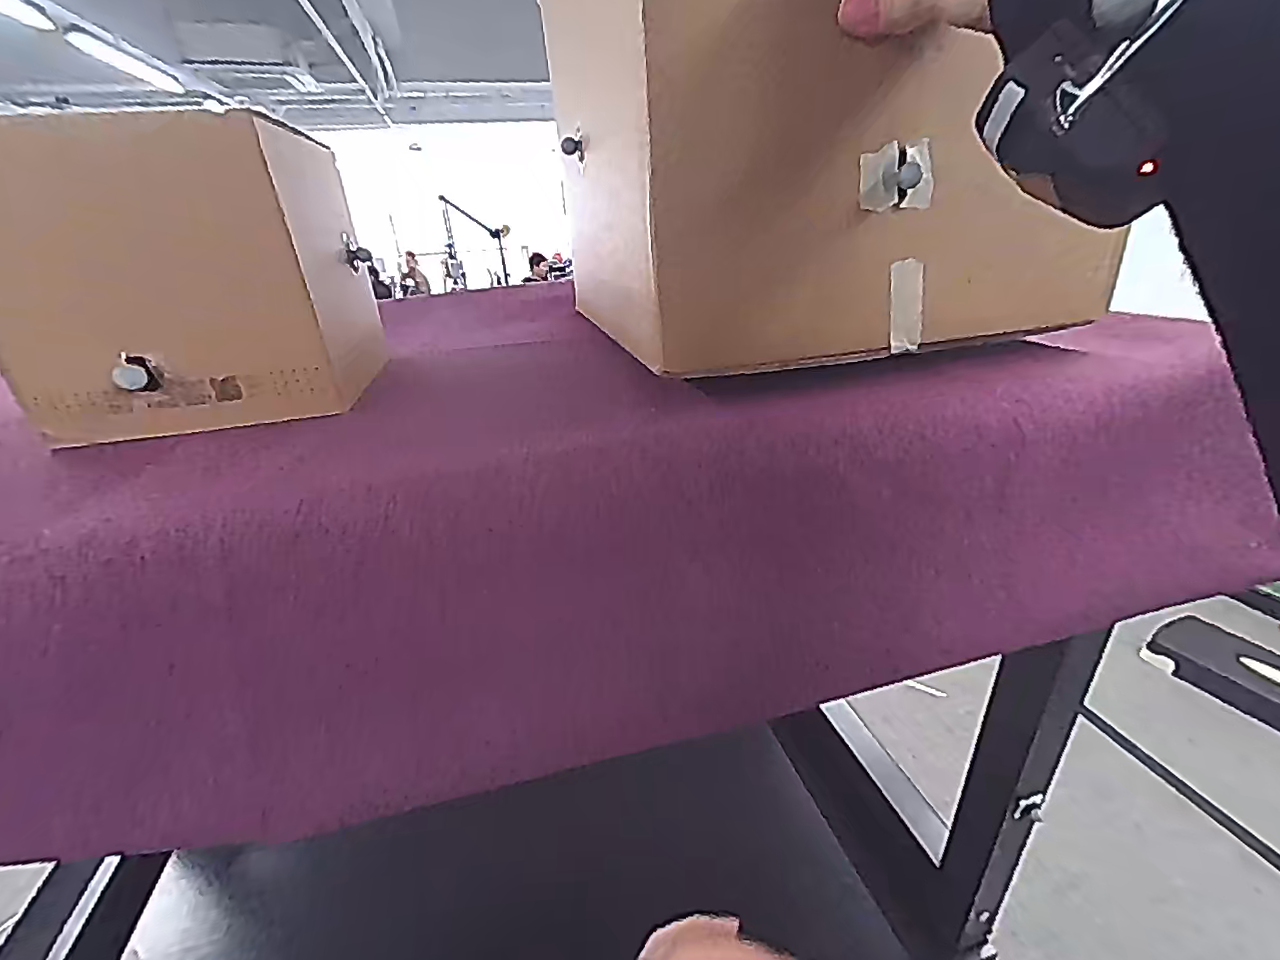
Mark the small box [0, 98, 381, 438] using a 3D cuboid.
[{"bbox_3d":[-0.292,-0.140,0.367,0.168,0.176,0.179,-10,27,-11],"label":"small box"}]

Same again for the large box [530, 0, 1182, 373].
[{"bbox_3d":[0.100,-0.288,0.440,0.320,0.320,0.408,-9,23,-11],"label":"large box"}]
